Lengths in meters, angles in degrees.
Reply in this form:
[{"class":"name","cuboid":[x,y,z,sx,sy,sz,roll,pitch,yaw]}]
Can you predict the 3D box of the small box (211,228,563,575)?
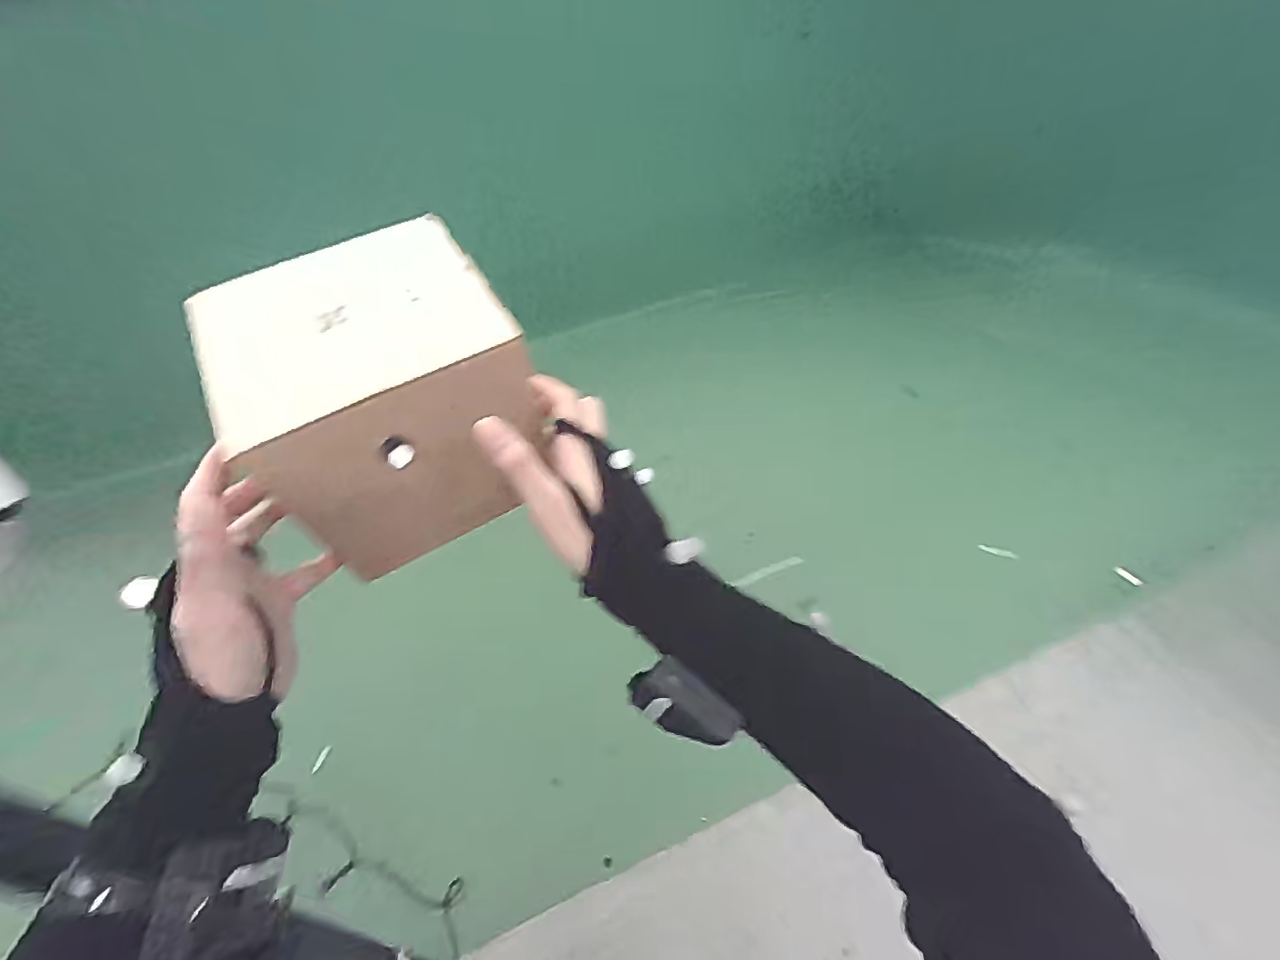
[{"class":"small box","cuboid":[-0.179,-0.055,0.420,0.179,0.176,0.168,-27,59,-16]}]
